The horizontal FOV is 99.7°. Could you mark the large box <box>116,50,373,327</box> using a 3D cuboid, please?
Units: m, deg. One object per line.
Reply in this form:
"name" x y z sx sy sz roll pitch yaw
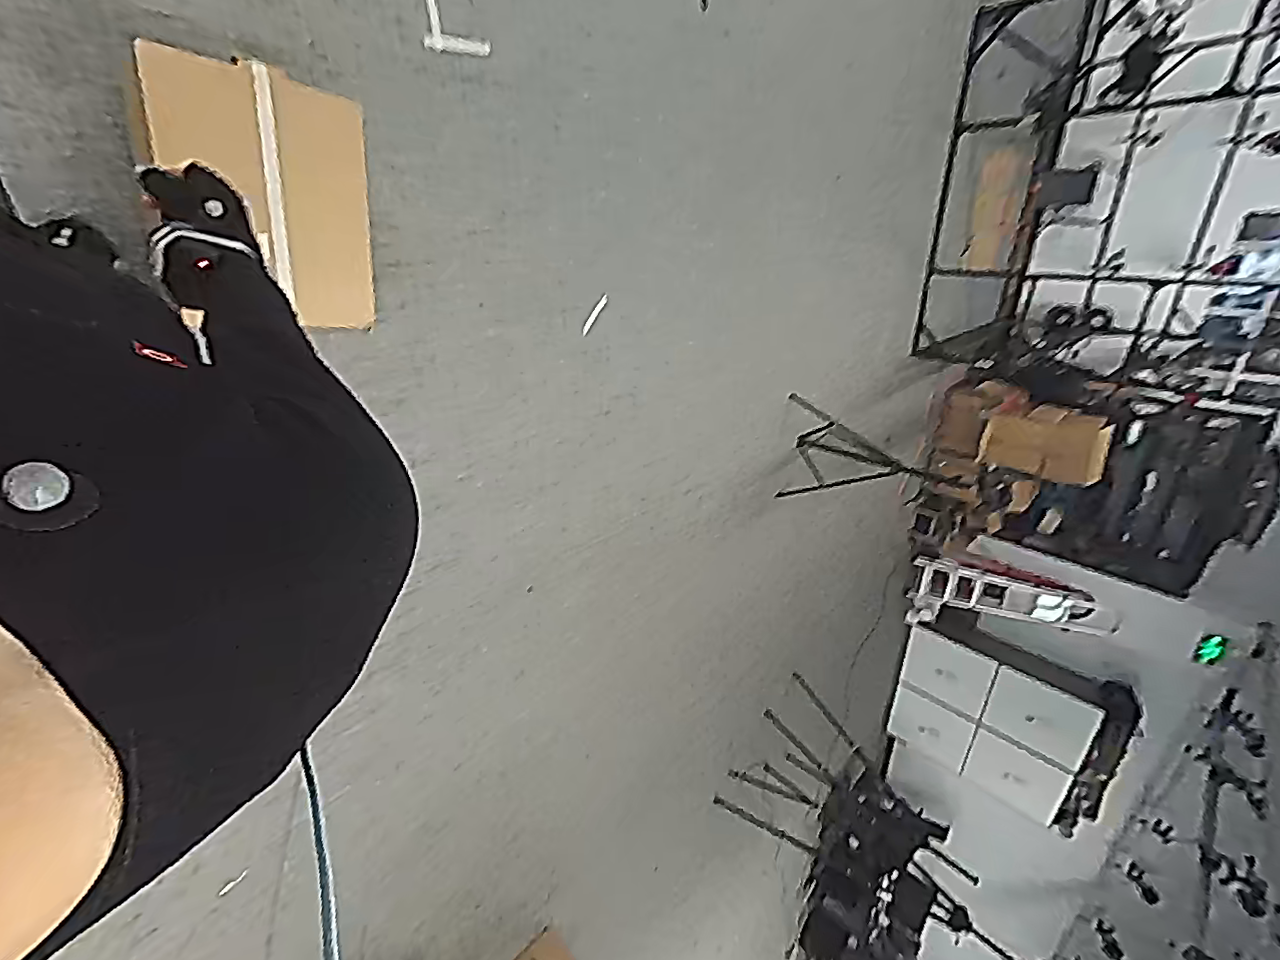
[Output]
"large box" -0.757 -0.527 1.058 0.320 0.320 0.408 -14 118 -43
